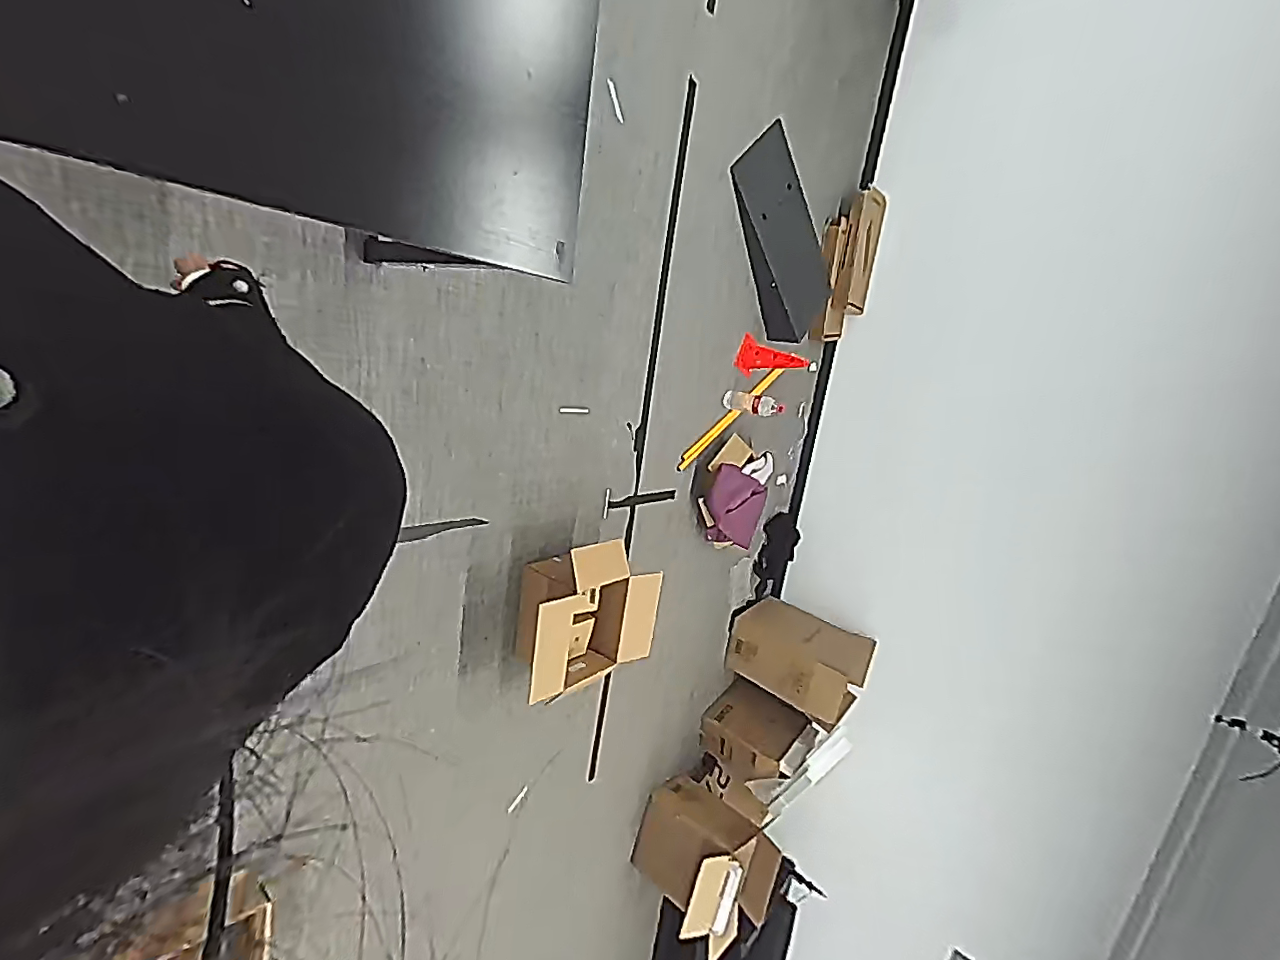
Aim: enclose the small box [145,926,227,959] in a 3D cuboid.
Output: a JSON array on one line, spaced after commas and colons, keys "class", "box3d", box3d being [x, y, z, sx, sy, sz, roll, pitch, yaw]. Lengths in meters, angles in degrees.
[{"class": "small box", "box3d": [-1.199, 1.337, 1.412, 0.179, 0.176, 0.168, 0, 103, -51]}]
